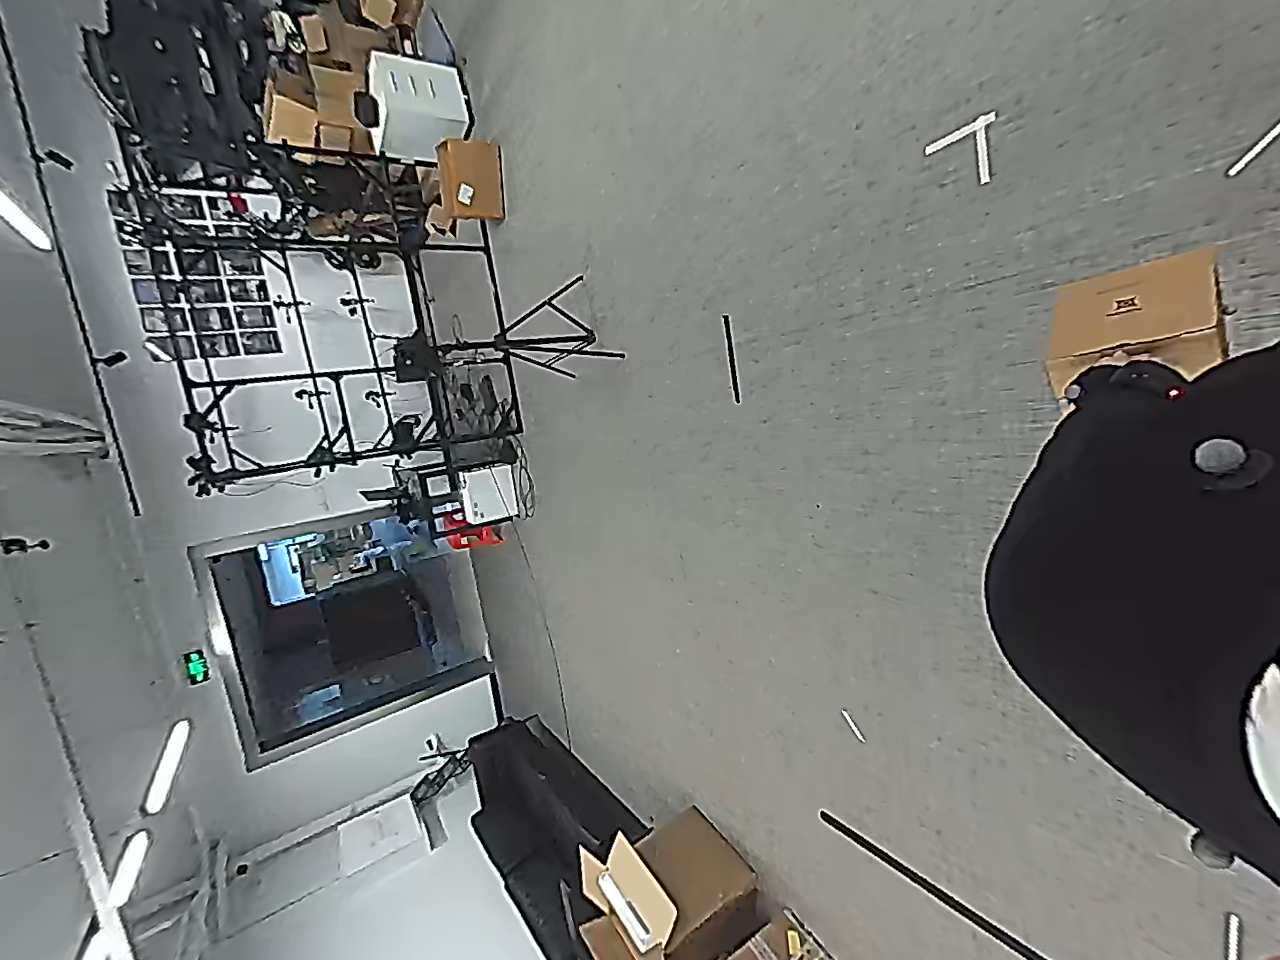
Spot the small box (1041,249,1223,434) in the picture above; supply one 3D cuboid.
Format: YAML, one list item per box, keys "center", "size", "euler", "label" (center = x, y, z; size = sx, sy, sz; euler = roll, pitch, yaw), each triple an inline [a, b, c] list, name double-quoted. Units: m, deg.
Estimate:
- center: [0.692, -0.179, 0.761]
  size: [0.168, 0.179, 0.176]
  euler: [-5, 135, 48]
  label: "small box"
